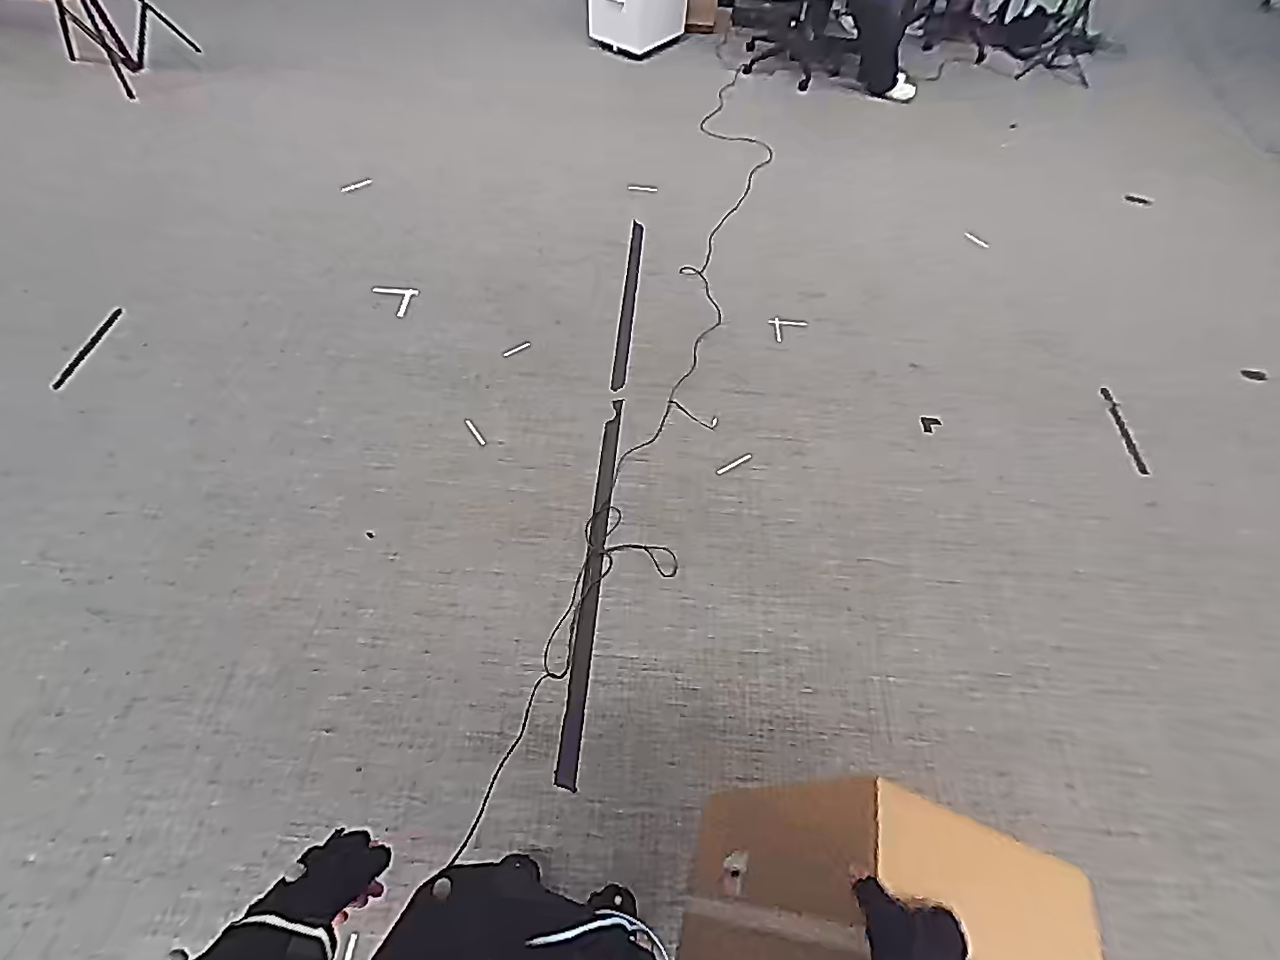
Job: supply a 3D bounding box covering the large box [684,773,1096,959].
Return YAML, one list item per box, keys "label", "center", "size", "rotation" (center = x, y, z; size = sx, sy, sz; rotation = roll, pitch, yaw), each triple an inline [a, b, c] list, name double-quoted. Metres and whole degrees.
- label: "large box"
  center: [0.291, 0.618, 0.698]
  size: [0.320, 0.408, 0.320]
  rotation: [27, 52, -5]
